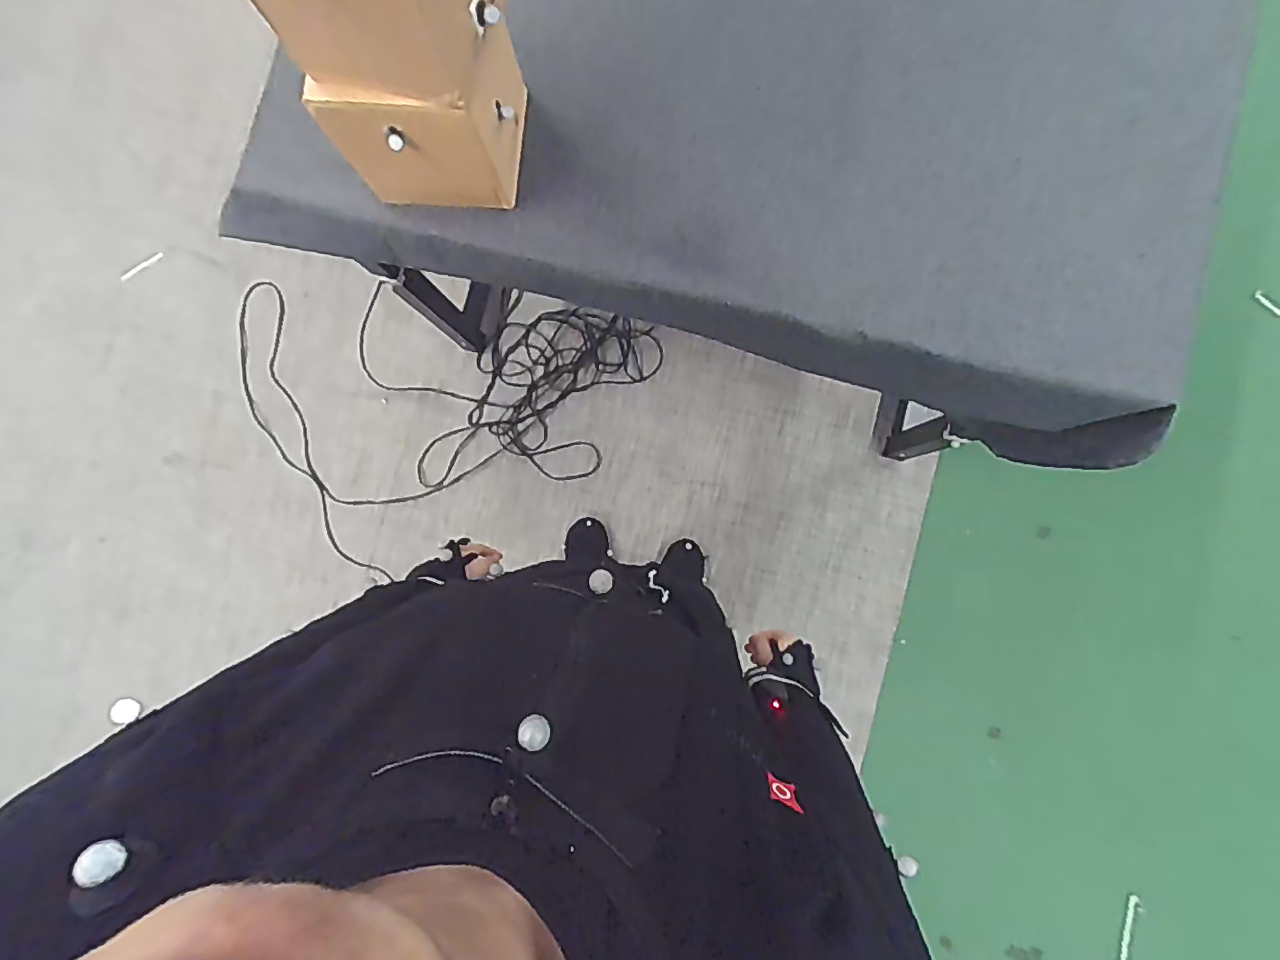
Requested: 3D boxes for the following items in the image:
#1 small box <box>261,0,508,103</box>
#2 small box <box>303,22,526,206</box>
[{"bbox_3d":[-0.229,-0.465,0.458,0.179,0.176,0.168,14,87,3],"label":"small box"},{"bbox_3d":[-0.239,-0.440,0.619,0.179,0.176,0.168,5,85,3],"label":"small box"}]
